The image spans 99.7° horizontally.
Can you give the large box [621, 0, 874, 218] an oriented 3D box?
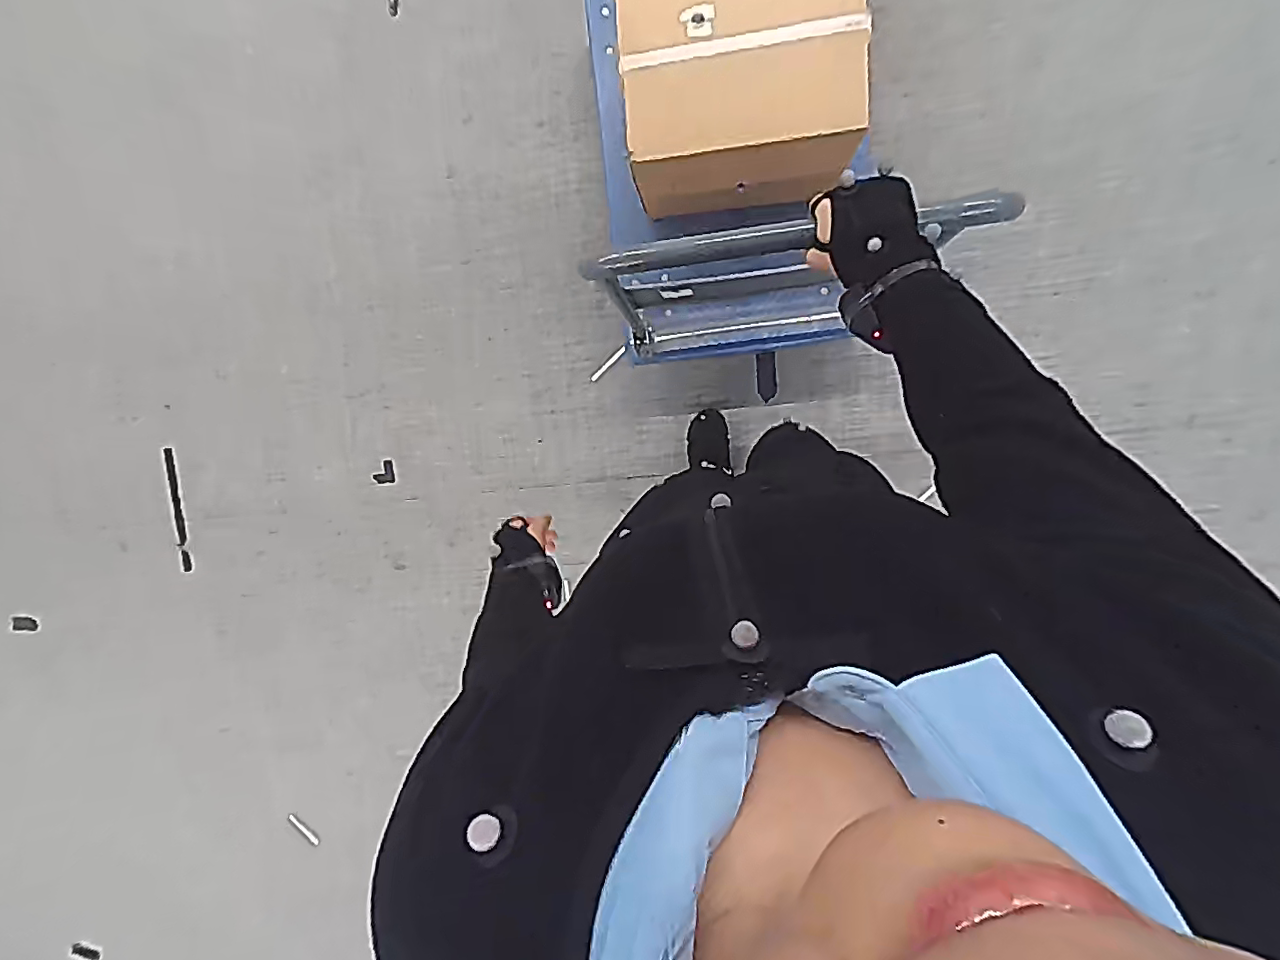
[{"bbox_3d":[0.197,-0.736,1.036,0.408,0.320,0.320,-3,96,9],"label":"large box"}]
